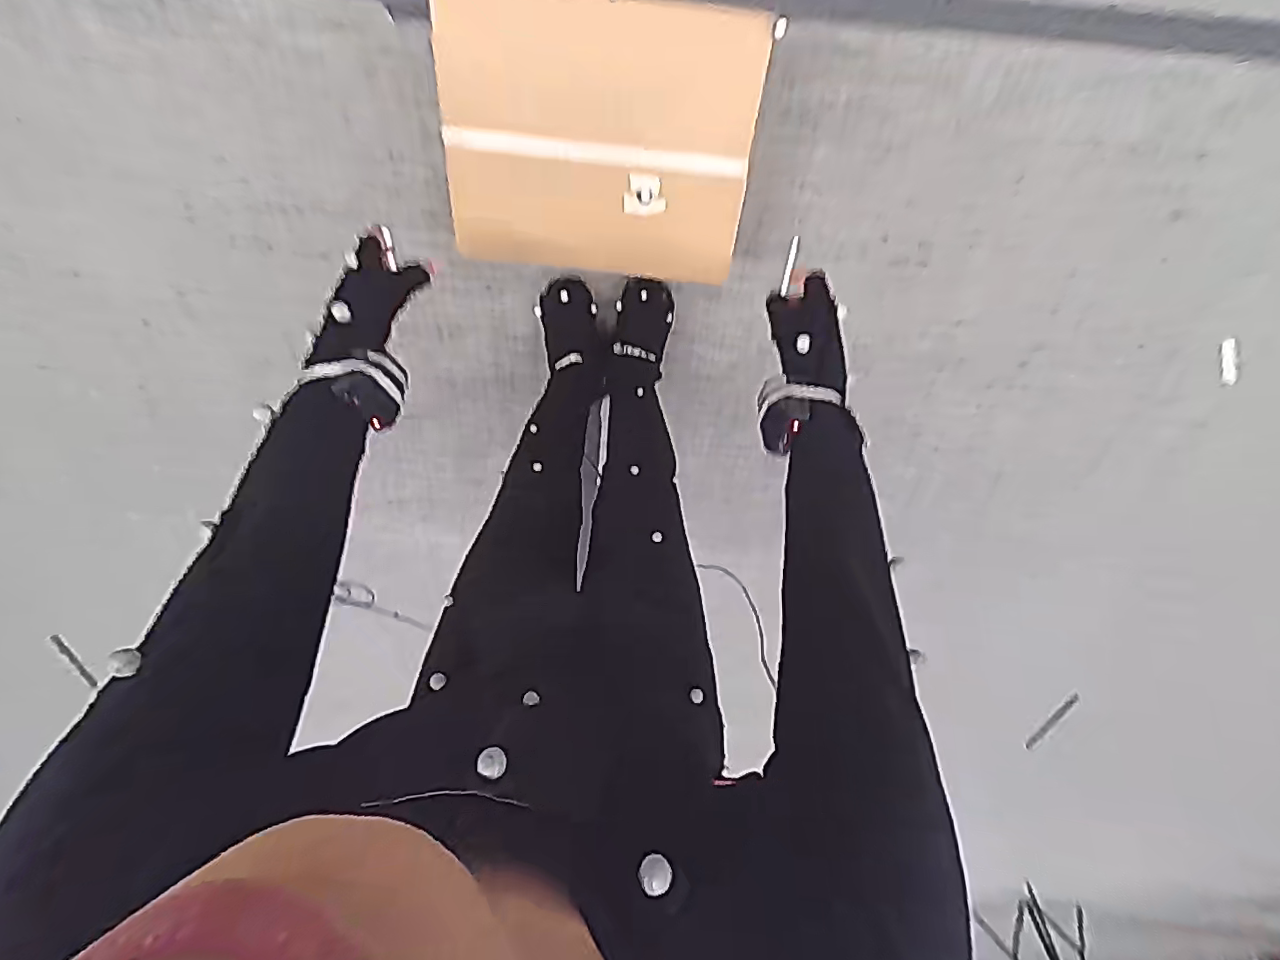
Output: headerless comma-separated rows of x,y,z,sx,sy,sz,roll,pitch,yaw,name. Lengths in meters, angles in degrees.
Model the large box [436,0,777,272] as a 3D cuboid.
-0.050,-0.534,0.828,0.408,0.320,0.320,4,129,-3,large box
